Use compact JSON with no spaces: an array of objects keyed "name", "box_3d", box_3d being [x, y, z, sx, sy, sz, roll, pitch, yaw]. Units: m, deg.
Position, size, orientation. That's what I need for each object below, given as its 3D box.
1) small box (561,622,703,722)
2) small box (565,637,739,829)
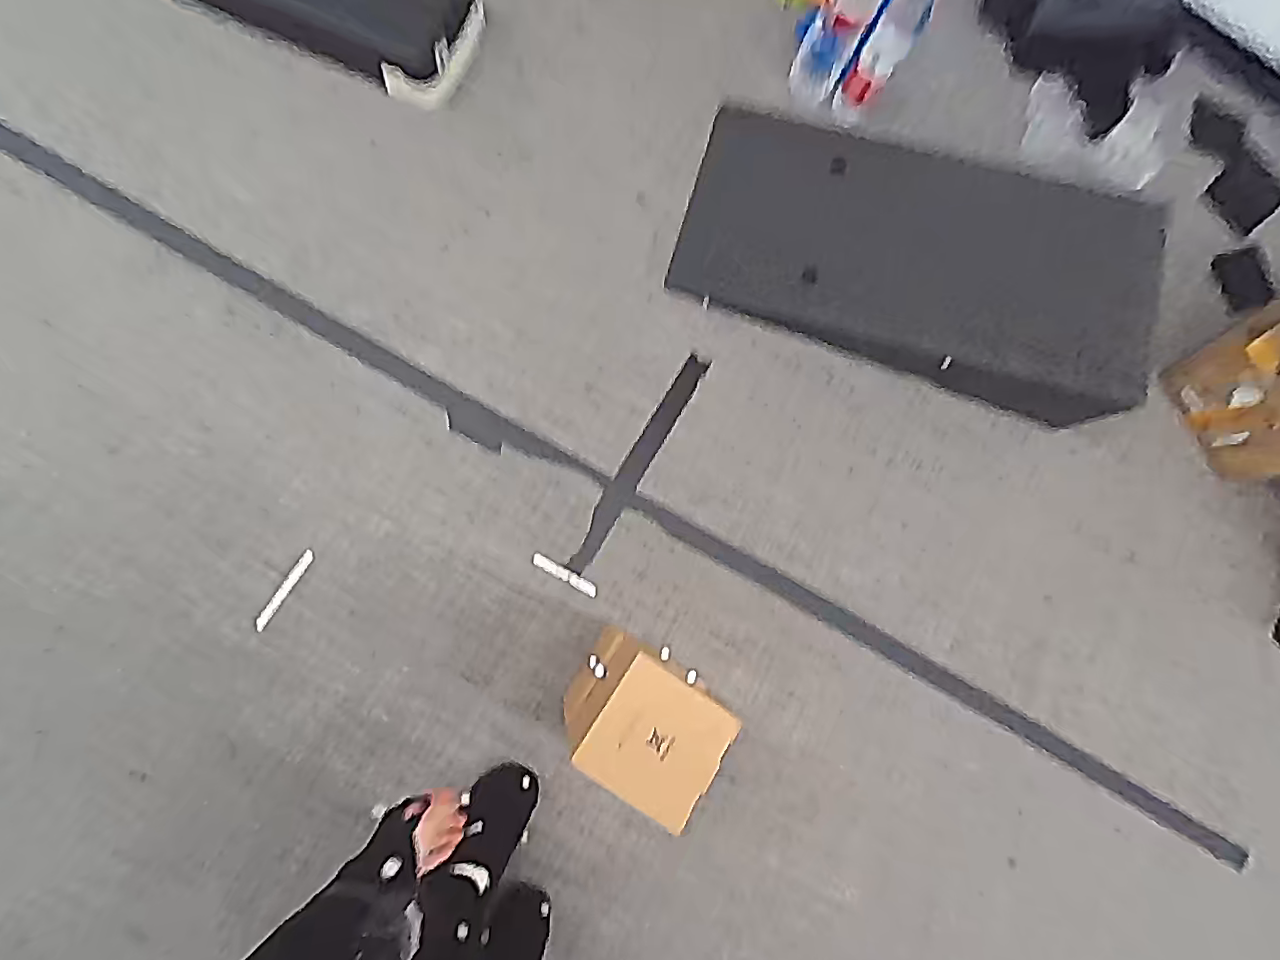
[{"name":"small box","box_3d":[-0.022,0.366,0.948,0.179,0.176,0.168,33,78,-4]},{"name":"small box","box_3d":[0.008,0.349,0.788,0.179,0.176,0.168,36,78,-2]}]
